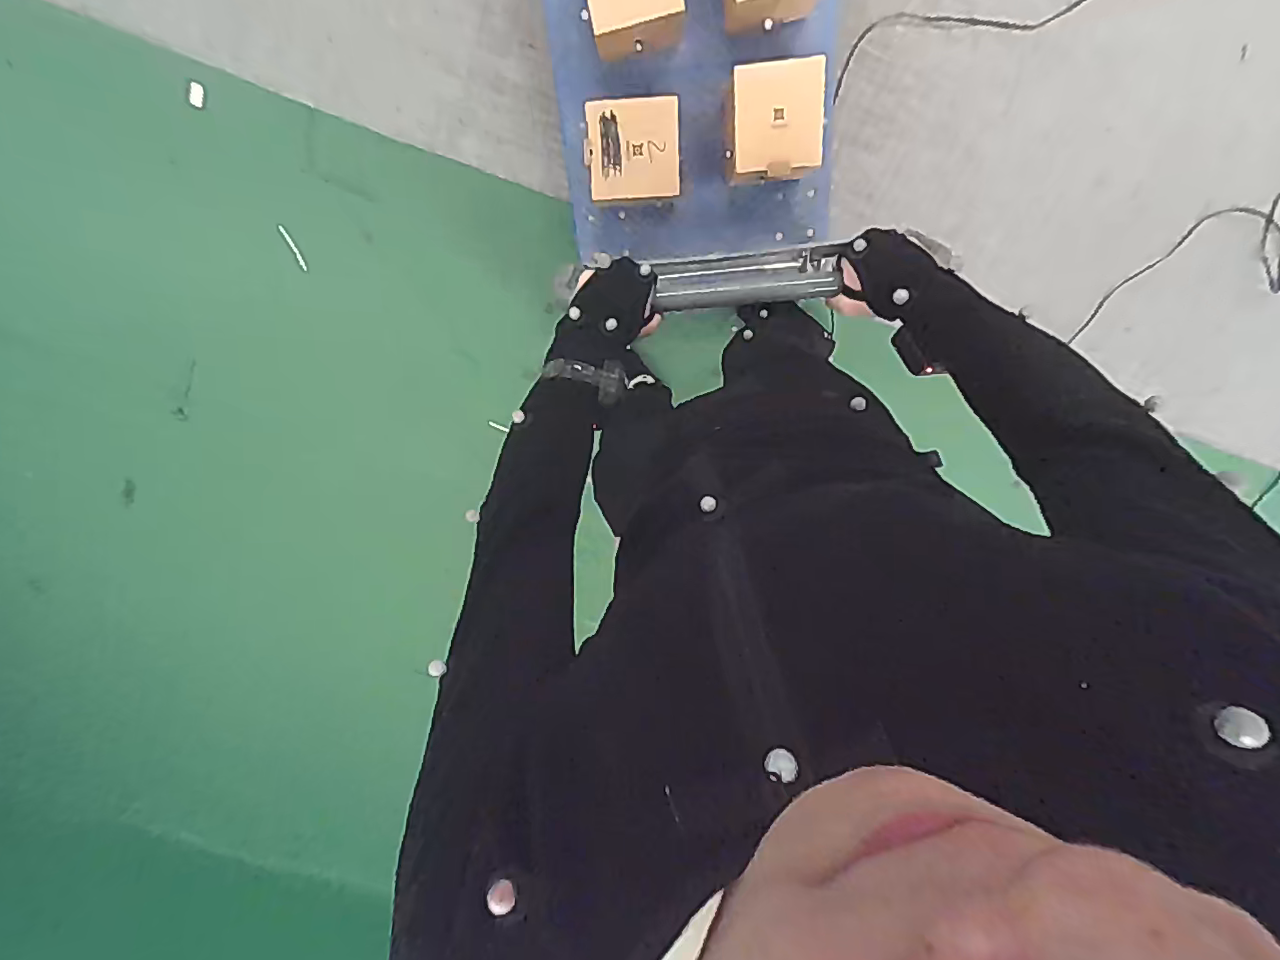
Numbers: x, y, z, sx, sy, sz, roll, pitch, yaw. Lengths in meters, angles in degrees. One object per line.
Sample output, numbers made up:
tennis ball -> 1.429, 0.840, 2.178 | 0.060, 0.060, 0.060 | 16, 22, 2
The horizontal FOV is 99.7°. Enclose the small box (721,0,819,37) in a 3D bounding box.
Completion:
small box -> 0.234, -0.949, 0.977 | 0.168, 0.176, 0.179 | -7, 113, 5

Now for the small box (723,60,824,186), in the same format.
small box -> 0.258, -0.702, 1.081 | 0.168, 0.176, 0.179 | -4, 113, 3

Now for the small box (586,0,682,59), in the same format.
small box -> -0.018, -0.913, 0.998 | 0.168, 0.176, 0.179 | -11, 112, 5
